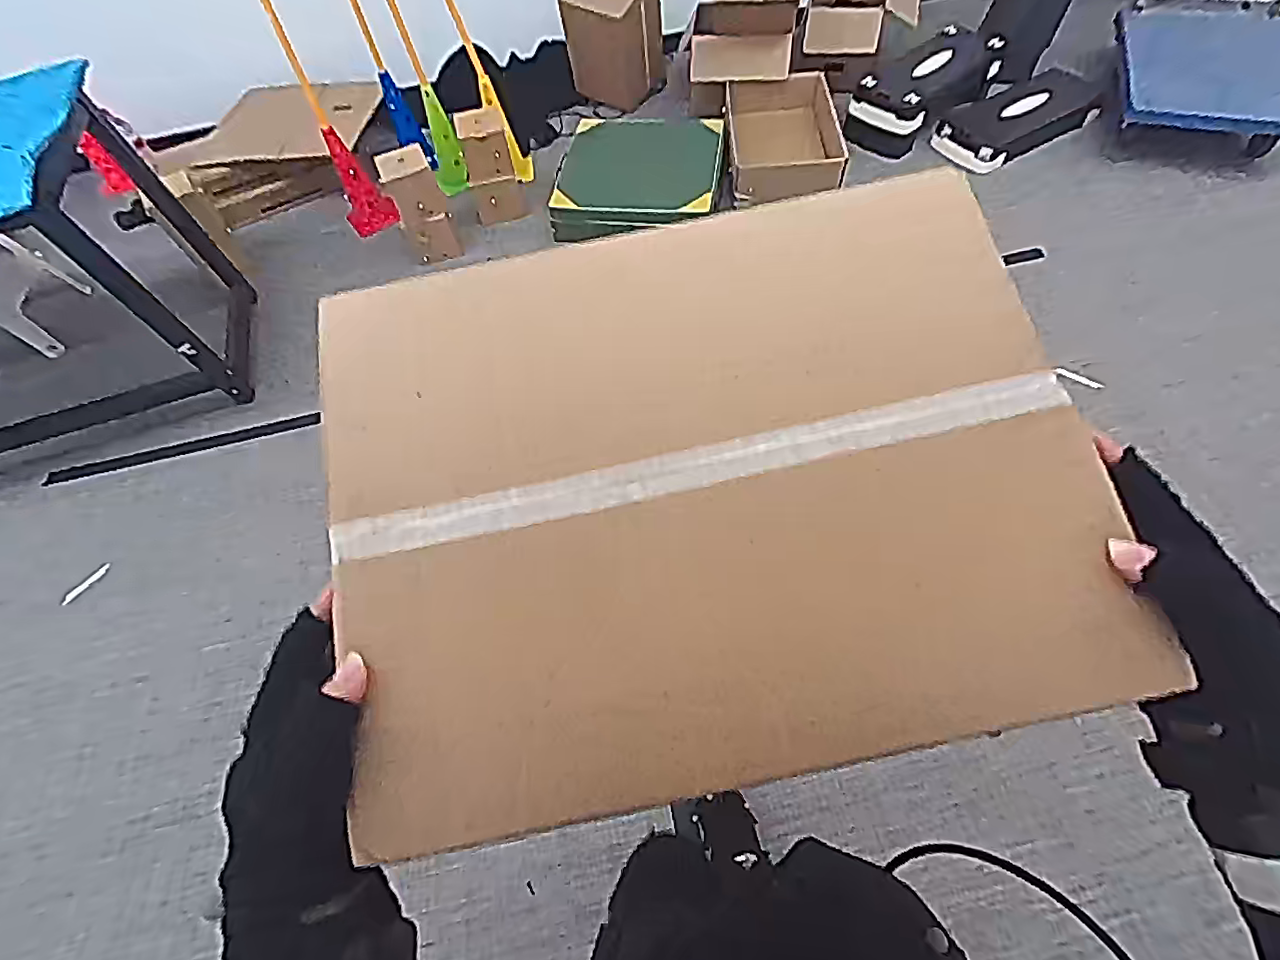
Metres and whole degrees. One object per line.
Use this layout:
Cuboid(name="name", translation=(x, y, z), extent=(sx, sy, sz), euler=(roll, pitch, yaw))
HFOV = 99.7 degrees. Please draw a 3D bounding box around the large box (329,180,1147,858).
Cuboid(name="large box", translation=(0.038, 0.033, 0.447), extent=(0.408, 0.320, 0.320), euler=(-13, 74, 0))
